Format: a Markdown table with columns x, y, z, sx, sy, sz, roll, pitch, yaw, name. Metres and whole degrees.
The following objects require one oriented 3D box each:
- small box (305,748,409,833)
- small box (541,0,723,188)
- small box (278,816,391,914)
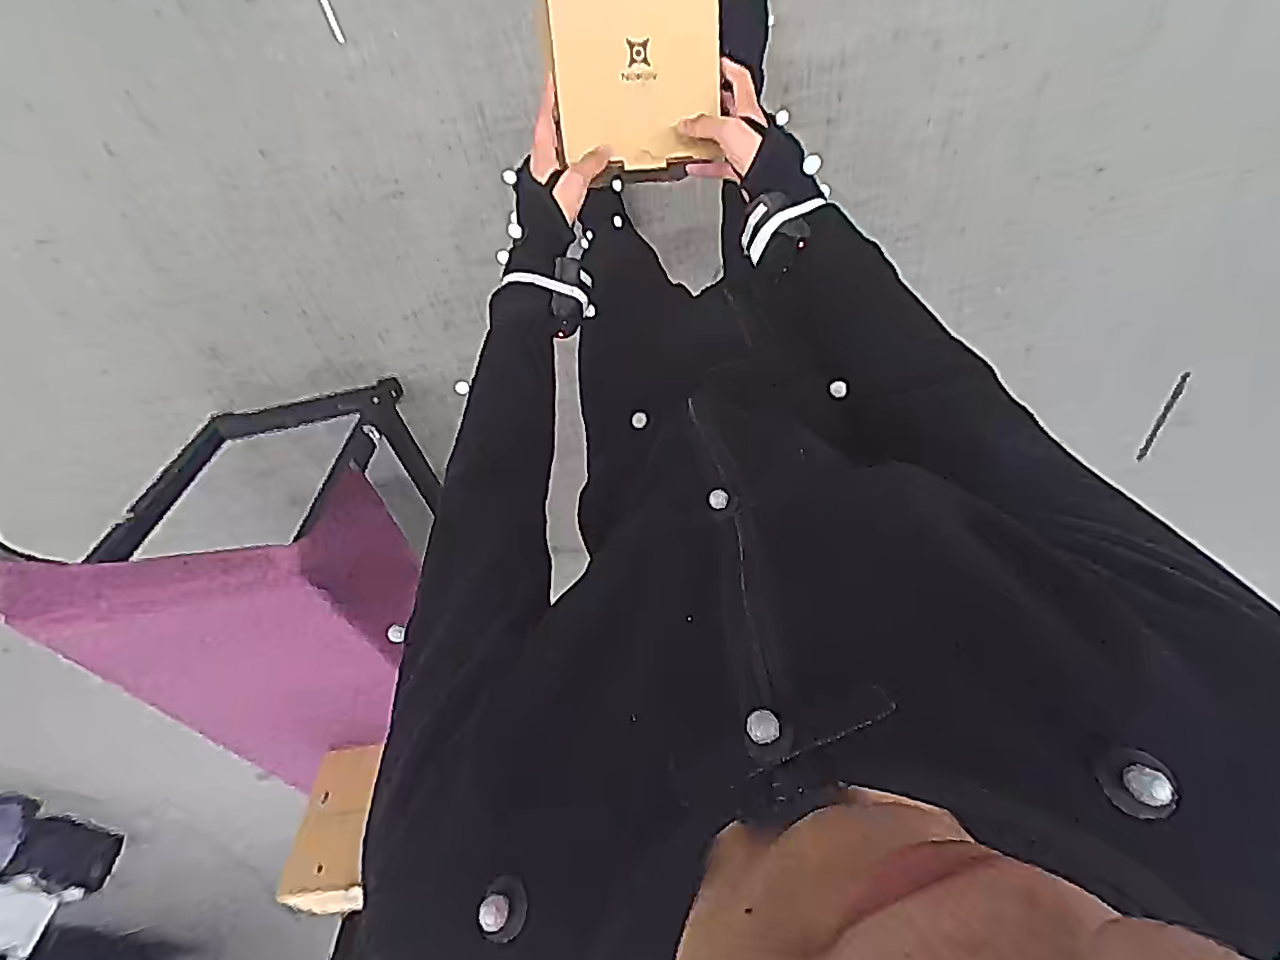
| x | y | z | sx | sy | sz | roll | pitch | yaw | name |
| --- | --- | --- | --- | --- | --- | --- | --- | --- | --- |
| -0.774 | 0.868 | 1.499 | 0.179 | 0.176 | 0.168 | -11 | 132 | 3 | small box |
| -0.015 | -0.436 | 0.597 | 0.168 | 0.176 | 0.179 | -9 | 113 | -9 | small box |
| -0.761 | 0.978 | 1.378 | 0.179 | 0.176 | 0.168 | -13 | 131 | 7 | small box |
